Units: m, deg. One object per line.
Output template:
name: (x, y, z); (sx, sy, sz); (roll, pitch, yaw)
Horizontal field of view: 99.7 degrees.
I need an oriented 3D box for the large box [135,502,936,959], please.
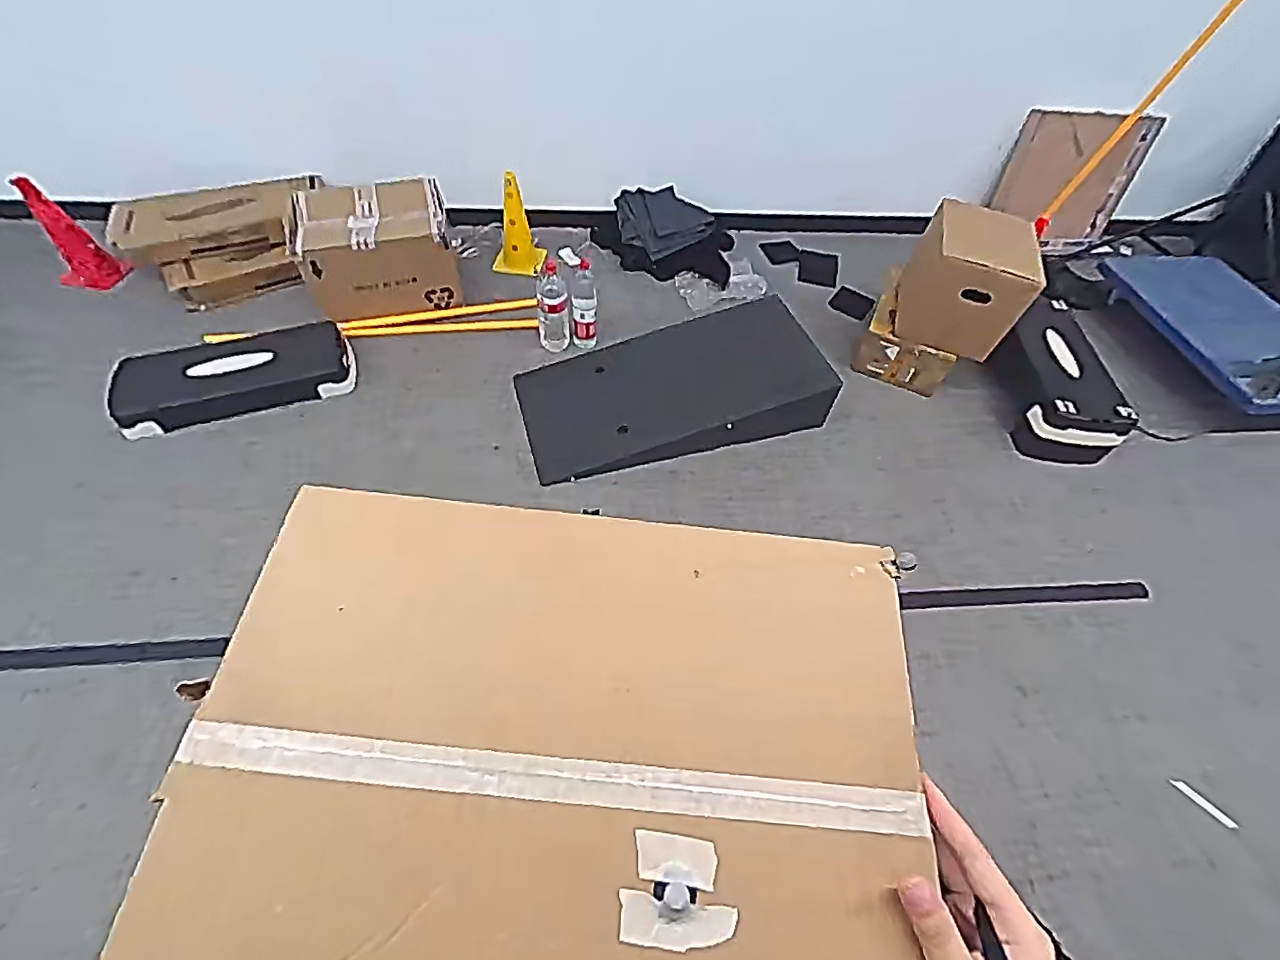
large box: (-0.048, 0.236, 0.439); (0.408, 0.320, 0.320); (6, 63, -1)
